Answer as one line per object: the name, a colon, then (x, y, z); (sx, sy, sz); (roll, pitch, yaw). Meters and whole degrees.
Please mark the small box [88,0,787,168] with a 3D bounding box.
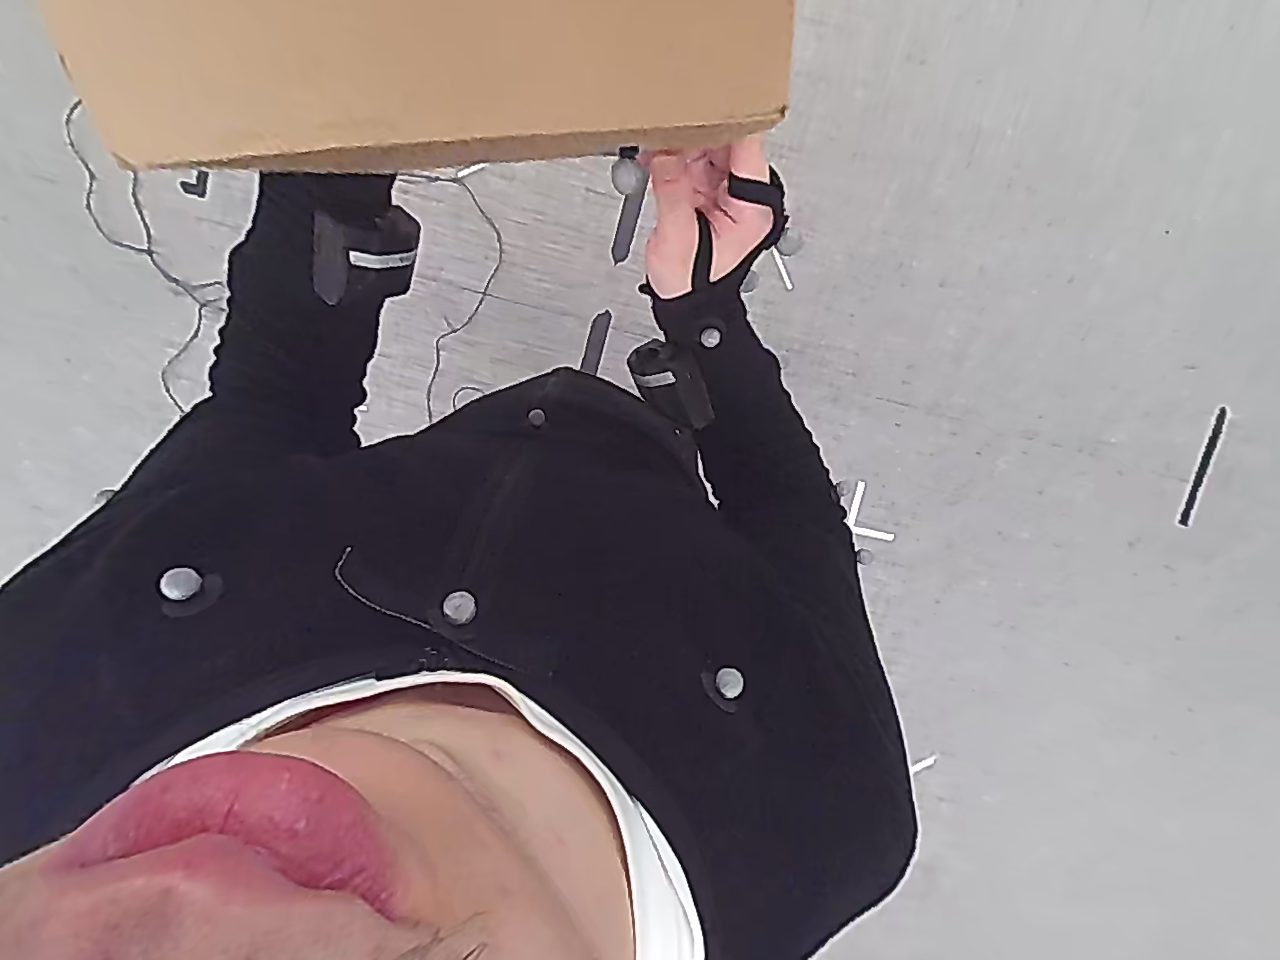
small box: (-0.053, -0.202, 0.179); (0.179, 0.176, 0.168); (-2, 119, 2)
